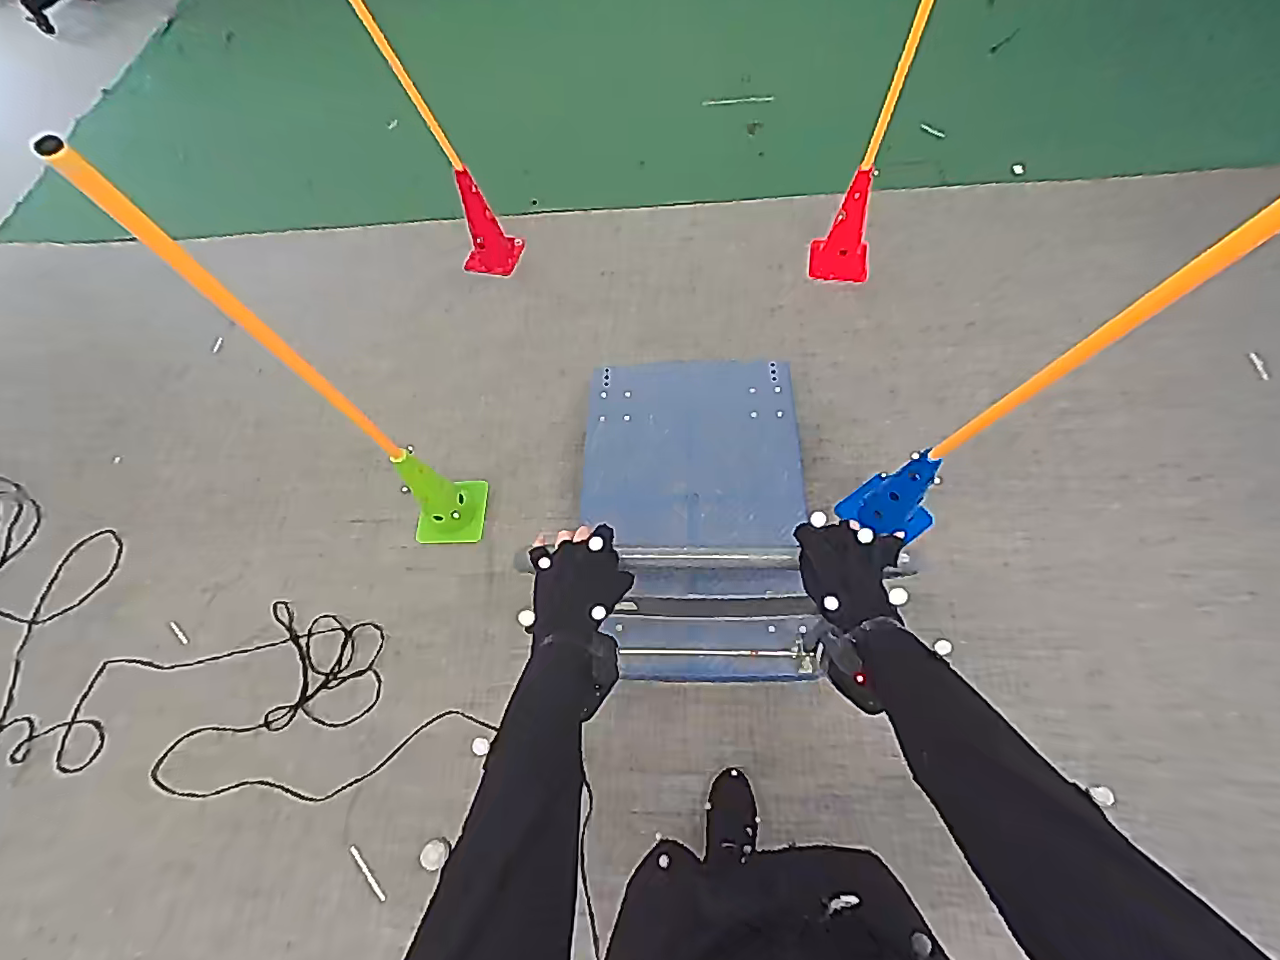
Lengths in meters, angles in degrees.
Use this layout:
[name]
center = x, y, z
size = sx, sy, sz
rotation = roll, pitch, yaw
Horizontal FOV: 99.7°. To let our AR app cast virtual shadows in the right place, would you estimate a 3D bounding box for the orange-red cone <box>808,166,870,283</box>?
[orange-red cone]
center = 0.694, -0.858, 1.787
size = 0.198, 0.360, 0.199
rotation = 9, 66, 10
